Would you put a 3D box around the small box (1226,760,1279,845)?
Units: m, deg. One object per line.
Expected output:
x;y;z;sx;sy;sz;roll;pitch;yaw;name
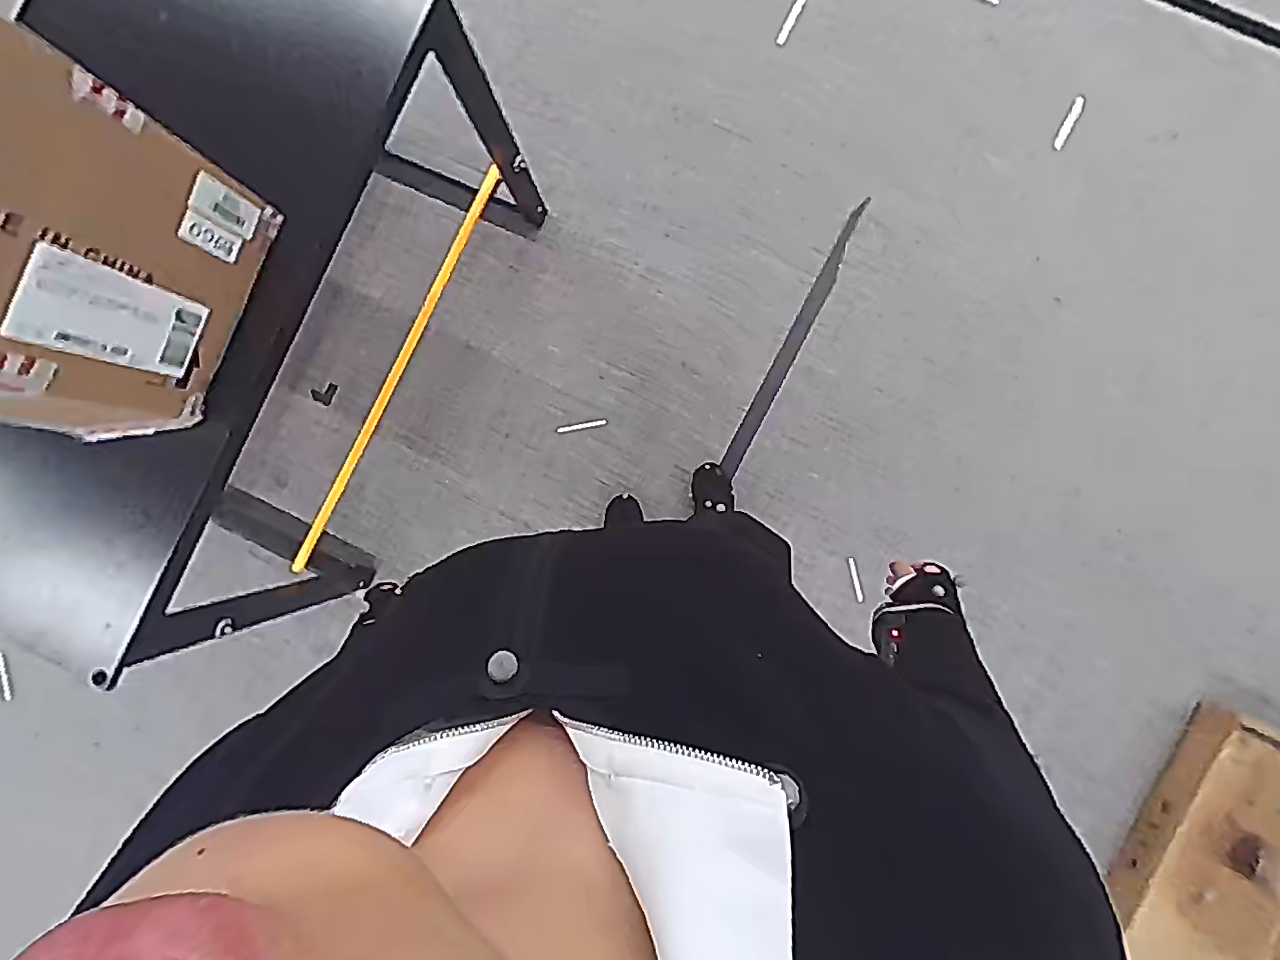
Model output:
1.527;0.775;1.233;0.179;0.176;0.168;28;92;3;small box

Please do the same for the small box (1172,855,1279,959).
1.406;1.016;1.238;0.179;0.176;0.168;31;90;3;small box
